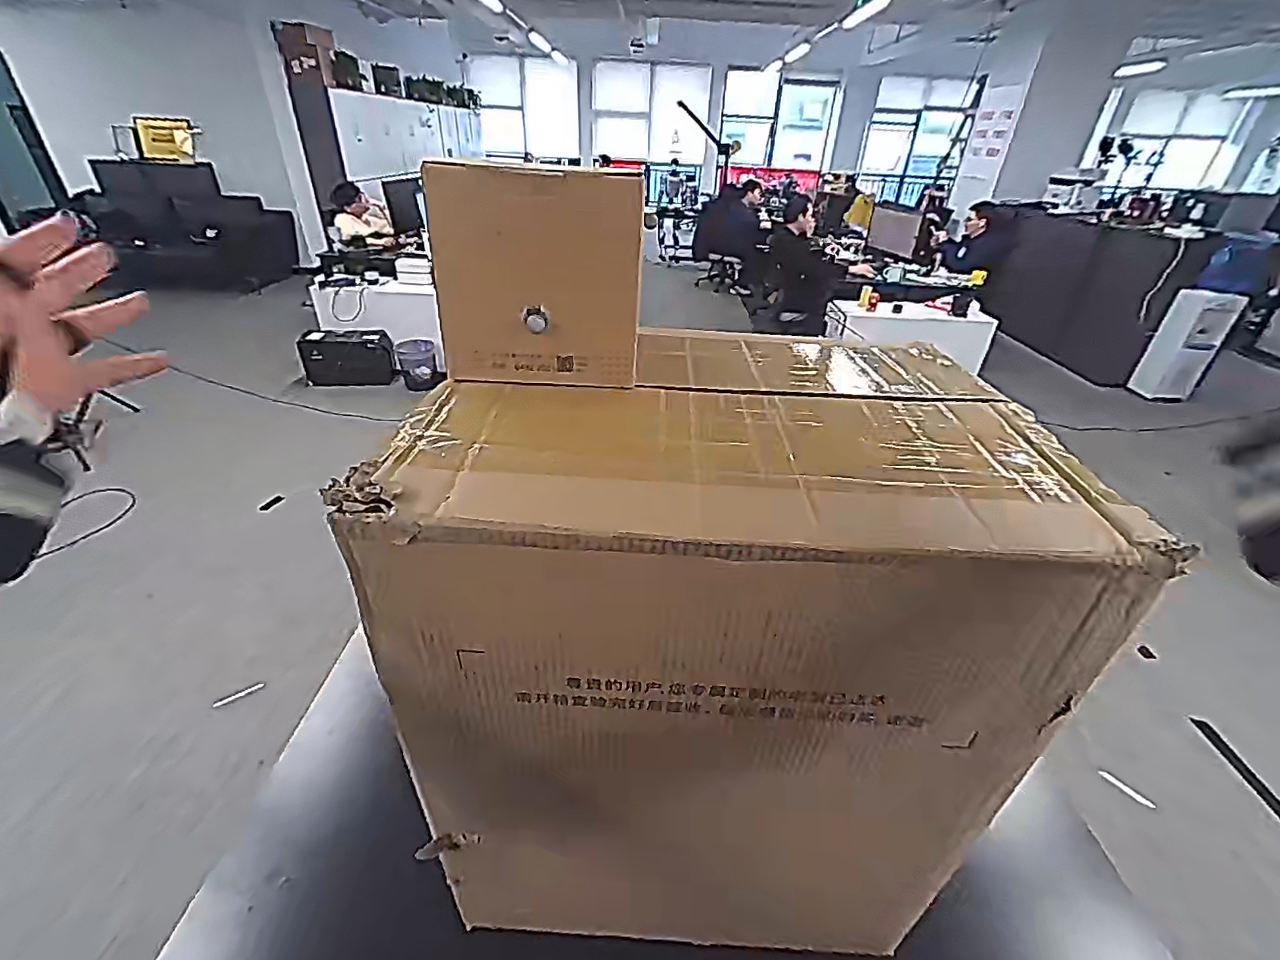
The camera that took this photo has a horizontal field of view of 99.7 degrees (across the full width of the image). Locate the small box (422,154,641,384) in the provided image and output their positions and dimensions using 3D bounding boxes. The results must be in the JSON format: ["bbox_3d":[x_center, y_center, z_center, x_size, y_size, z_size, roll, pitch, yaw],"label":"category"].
[{"bbox_3d":[-0.086,-0.201,0.510,0.168,0.176,0.179,2,30,-2],"label":"small box"}]
